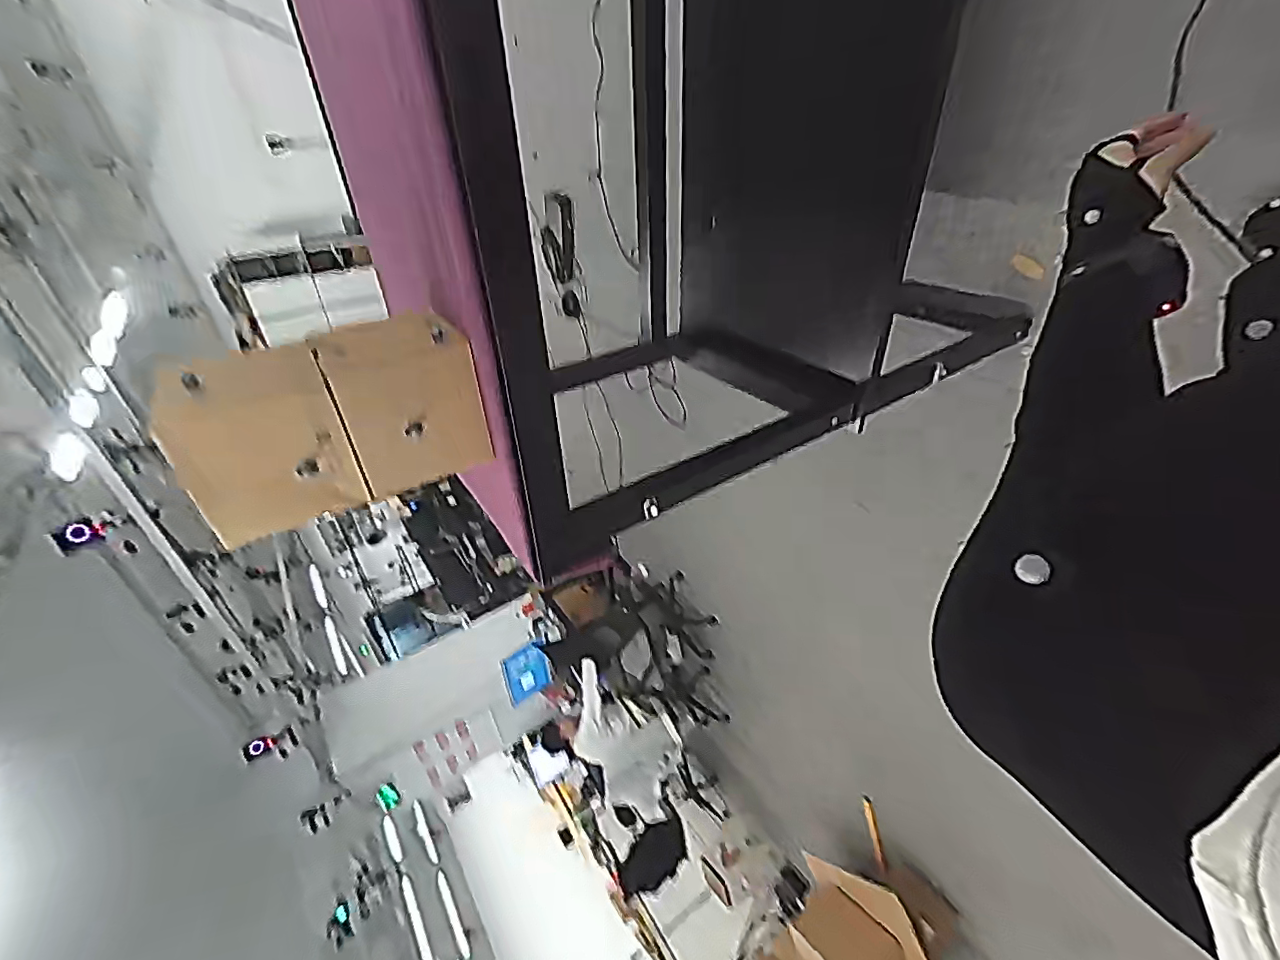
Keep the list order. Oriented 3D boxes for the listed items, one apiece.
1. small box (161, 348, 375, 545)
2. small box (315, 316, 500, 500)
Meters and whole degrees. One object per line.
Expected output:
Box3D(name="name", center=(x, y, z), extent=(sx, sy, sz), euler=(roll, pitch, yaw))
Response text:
Box3D(name="small box", center=(-0.451, -0.054, 0.676), extent=(0.179, 0.176, 0.168), euler=(40, 142, 44))
Box3D(name="small box", center=(-0.311, -0.108, 0.738), extent=(0.168, 0.176, 0.179), euler=(40, 143, 44))
